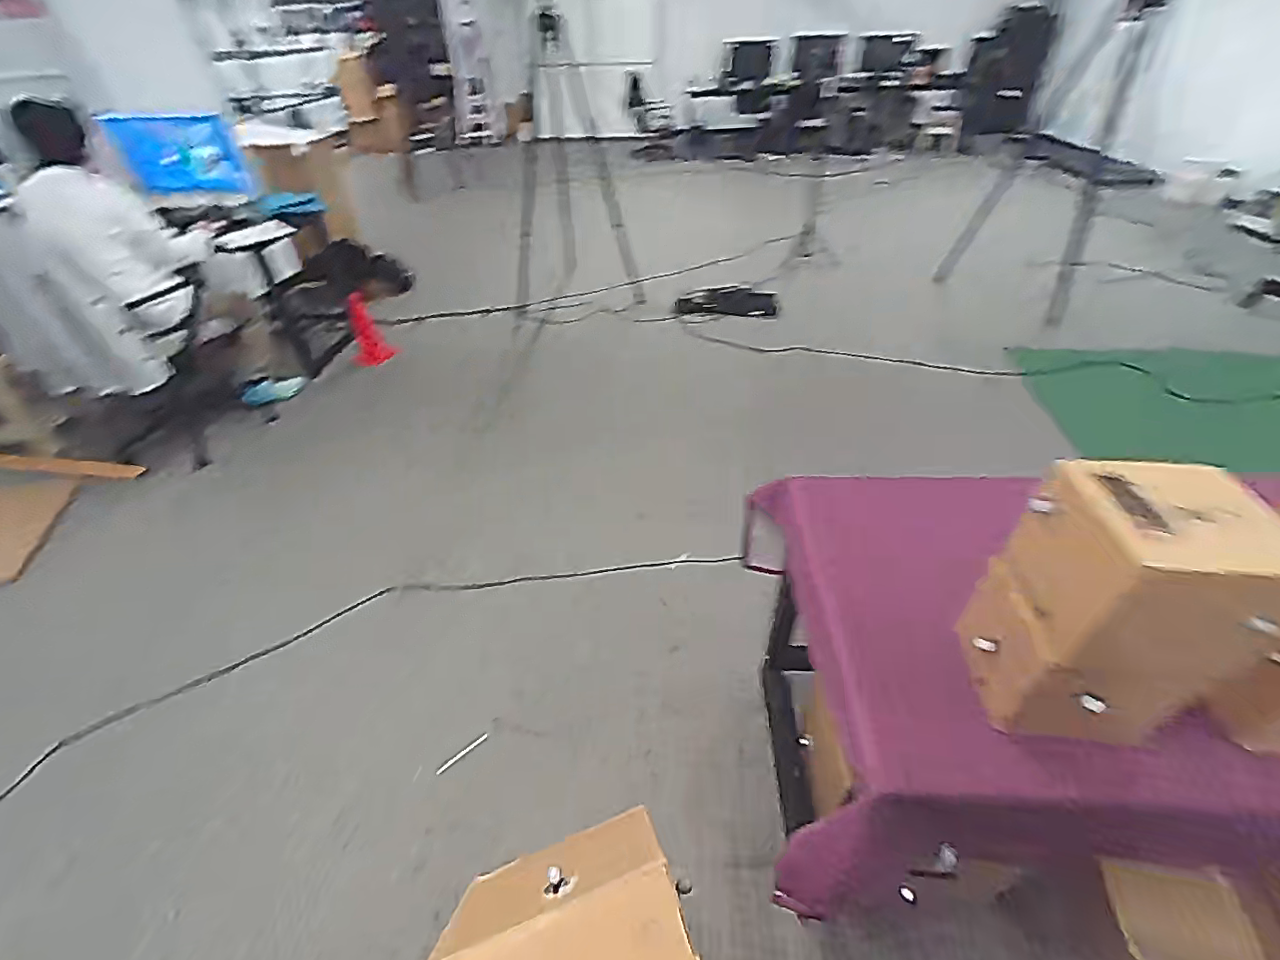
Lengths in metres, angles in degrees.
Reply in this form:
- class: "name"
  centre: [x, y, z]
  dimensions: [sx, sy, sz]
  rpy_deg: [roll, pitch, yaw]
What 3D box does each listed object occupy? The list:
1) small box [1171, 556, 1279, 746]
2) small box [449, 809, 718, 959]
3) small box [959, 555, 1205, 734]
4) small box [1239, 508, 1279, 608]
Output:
- class: "small box"
  centre: [0.851, 0.225, 0.696]
  dimensions: [0.168, 0.176, 0.179]
  rpy_deg: [5, 42, 9]
- class: "small box"
  centre: [-0.031, 0.390, 0.423]
  dimensions: [0.179, 0.176, 0.168]
  rpy_deg: [-17, 73, -9]
- class: "small box"
  centre: [0.553, 0.218, 0.717]
  dimensions: [0.179, 0.176, 0.168]
  rpy_deg: [1, 41, 6]
- class: "small box"
  centre: [0.847, 0.095, 0.594]
  dimensions: [0.168, 0.176, 0.179]
  rpy_deg: [5, 42, 10]
